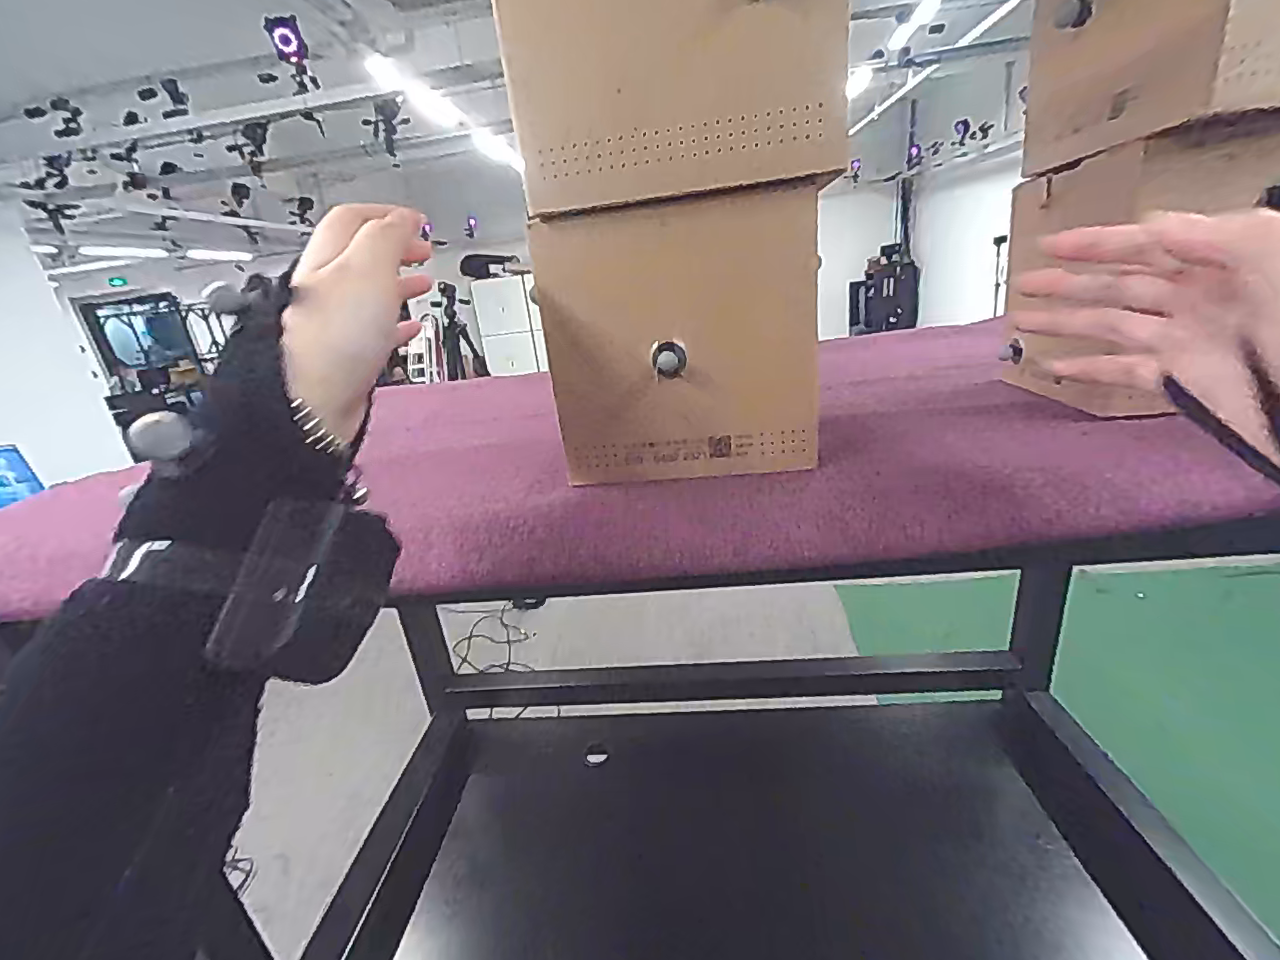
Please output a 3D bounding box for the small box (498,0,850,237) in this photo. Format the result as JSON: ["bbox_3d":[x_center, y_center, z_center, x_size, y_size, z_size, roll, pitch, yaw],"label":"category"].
[{"bbox_3d":[0.027,-0.247,0.339,0.179,0.176,0.168,-5,19,9],"label":"small box"}]

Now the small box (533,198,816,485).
[{"bbox_3d":[0.036,-0.099,0.407,0.168,0.176,0.179,-3,20,8],"label":"small box"}]

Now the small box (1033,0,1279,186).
[{"bbox_3d":[0.372,-0.287,0.326,0.179,0.176,0.168,-5,19,8],"label":"small box"}]

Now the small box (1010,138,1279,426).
[{"bbox_3d":[0.396,-0.139,0.391,0.179,0.176,0.168,-3,19,12],"label":"small box"}]
